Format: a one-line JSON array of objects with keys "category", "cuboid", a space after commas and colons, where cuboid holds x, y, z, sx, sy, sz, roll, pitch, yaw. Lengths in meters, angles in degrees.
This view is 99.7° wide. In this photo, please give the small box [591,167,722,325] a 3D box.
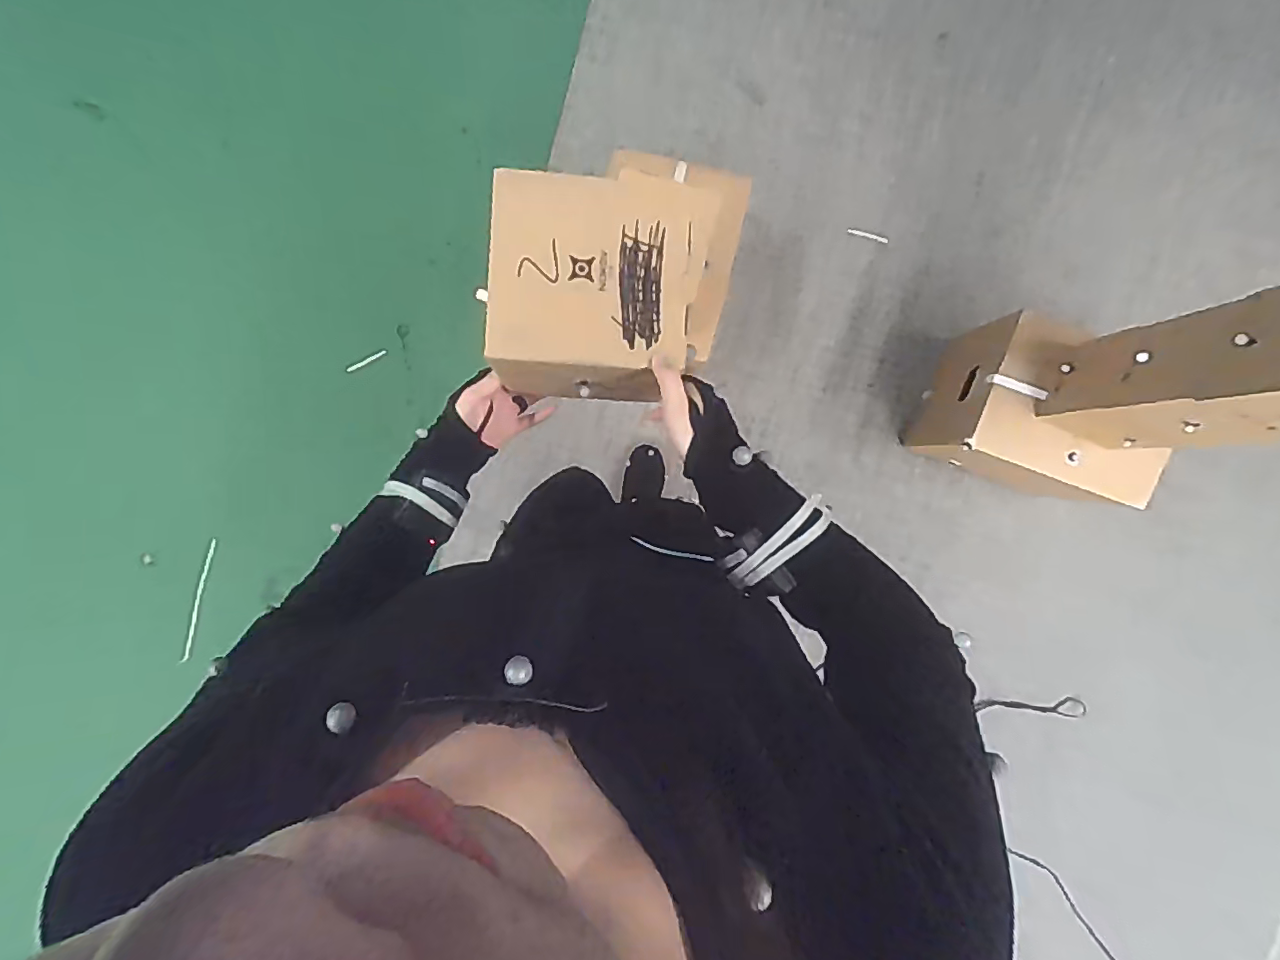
[{"category": "small box", "cuboid": [0.028, -0.378, 0.909, 0.168, 0.176, 0.179, 17, 93, 0]}]

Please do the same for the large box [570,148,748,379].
[{"category": "large box", "cuboid": [0.045, -0.490, 1.312, 0.320, 0.320, 0.408, 15, 93, 1]}]

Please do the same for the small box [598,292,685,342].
[{"category": "small box", "cuboid": [0.026, -0.391, 1.073, 0.168, 0.176, 0.179, 17, 92, 1]}]

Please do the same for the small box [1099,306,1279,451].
[{"category": "small box", "cuboid": [0.936, -0.157, 0.895, 0.179, 0.176, 0.168, 26, 91, 1]}]

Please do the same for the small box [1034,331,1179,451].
[{"category": "small box", "cuboid": [0.938, -0.166, 1.059, 0.179, 0.176, 0.168, 25, 92, 0]}]

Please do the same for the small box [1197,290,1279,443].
[{"category": "small box", "cuboid": [0.932, -0.156, 0.731, 0.168, 0.176, 0.179, 25, 92, 0]}]
